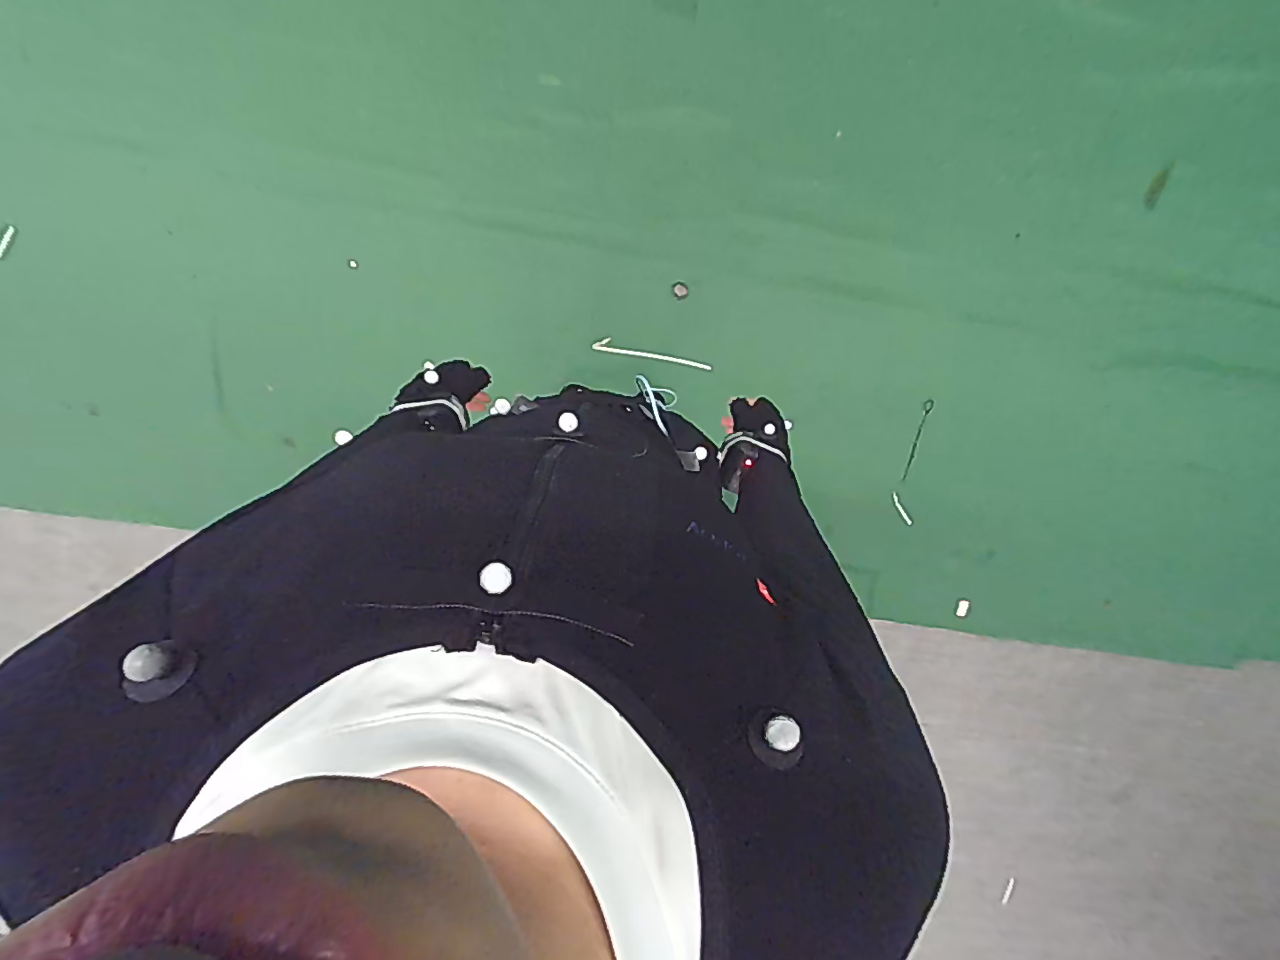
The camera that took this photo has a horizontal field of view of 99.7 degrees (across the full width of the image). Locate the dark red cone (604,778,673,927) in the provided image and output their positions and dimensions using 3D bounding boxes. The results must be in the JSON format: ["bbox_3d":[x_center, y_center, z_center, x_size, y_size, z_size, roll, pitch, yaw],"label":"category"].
[{"bbox_3d":[0.000,1.022,1.481,0.202,0.394,0.201,3,99,-2],"label":"dark red cone"}]
